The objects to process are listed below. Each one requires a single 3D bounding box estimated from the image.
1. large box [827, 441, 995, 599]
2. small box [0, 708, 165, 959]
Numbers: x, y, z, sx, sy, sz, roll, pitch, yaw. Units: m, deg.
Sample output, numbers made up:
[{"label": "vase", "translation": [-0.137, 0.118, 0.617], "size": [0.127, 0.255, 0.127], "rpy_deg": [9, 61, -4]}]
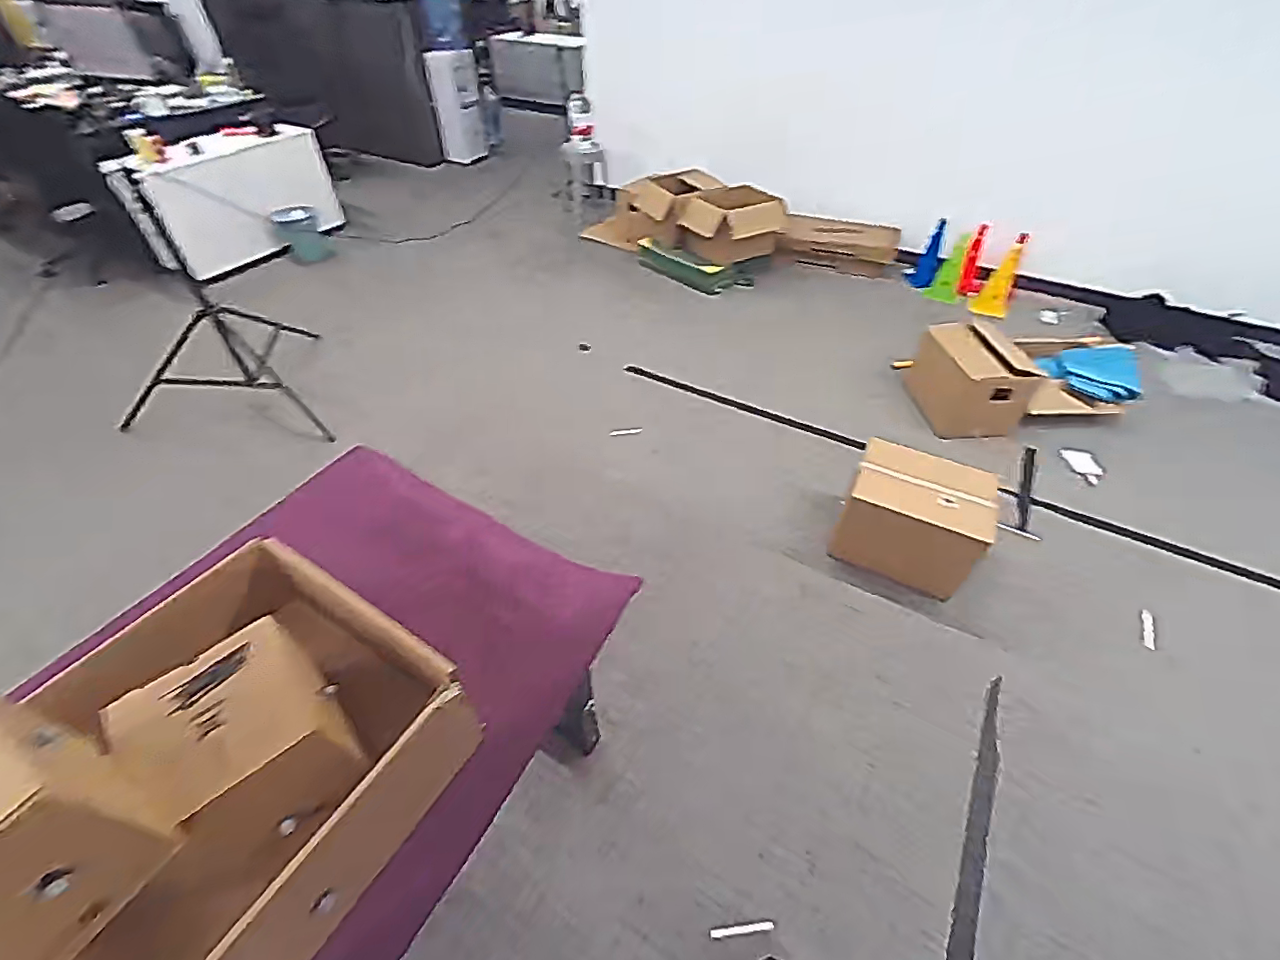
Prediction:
[{"label": "large box", "translation": [0.886, 0.128, 1.794], "size": [0.408, 0.320, 0.320], "rpy_deg": [21, 50, 18]}, {"label": "small box", "translation": [-0.522, 0.286, 0.402], "size": [0.179, 0.176, 0.168], "rpy_deg": [21, 48, 21]}]
